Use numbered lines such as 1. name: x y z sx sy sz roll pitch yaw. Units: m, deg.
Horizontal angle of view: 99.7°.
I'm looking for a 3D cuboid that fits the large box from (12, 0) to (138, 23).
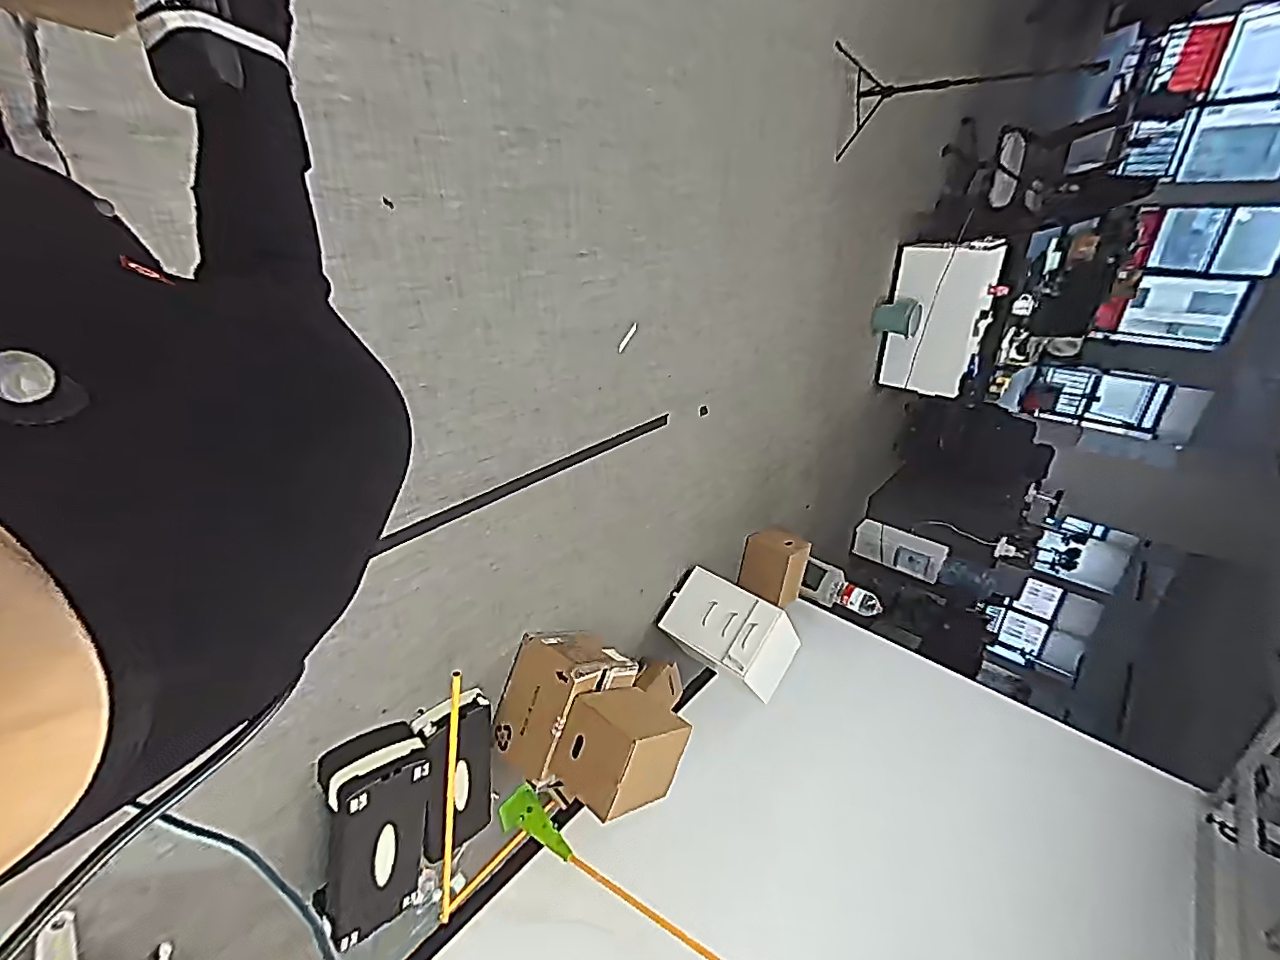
1. large box: -0.538 -0.498 0.261 0.408 0.320 0.320 -20 126 -47
